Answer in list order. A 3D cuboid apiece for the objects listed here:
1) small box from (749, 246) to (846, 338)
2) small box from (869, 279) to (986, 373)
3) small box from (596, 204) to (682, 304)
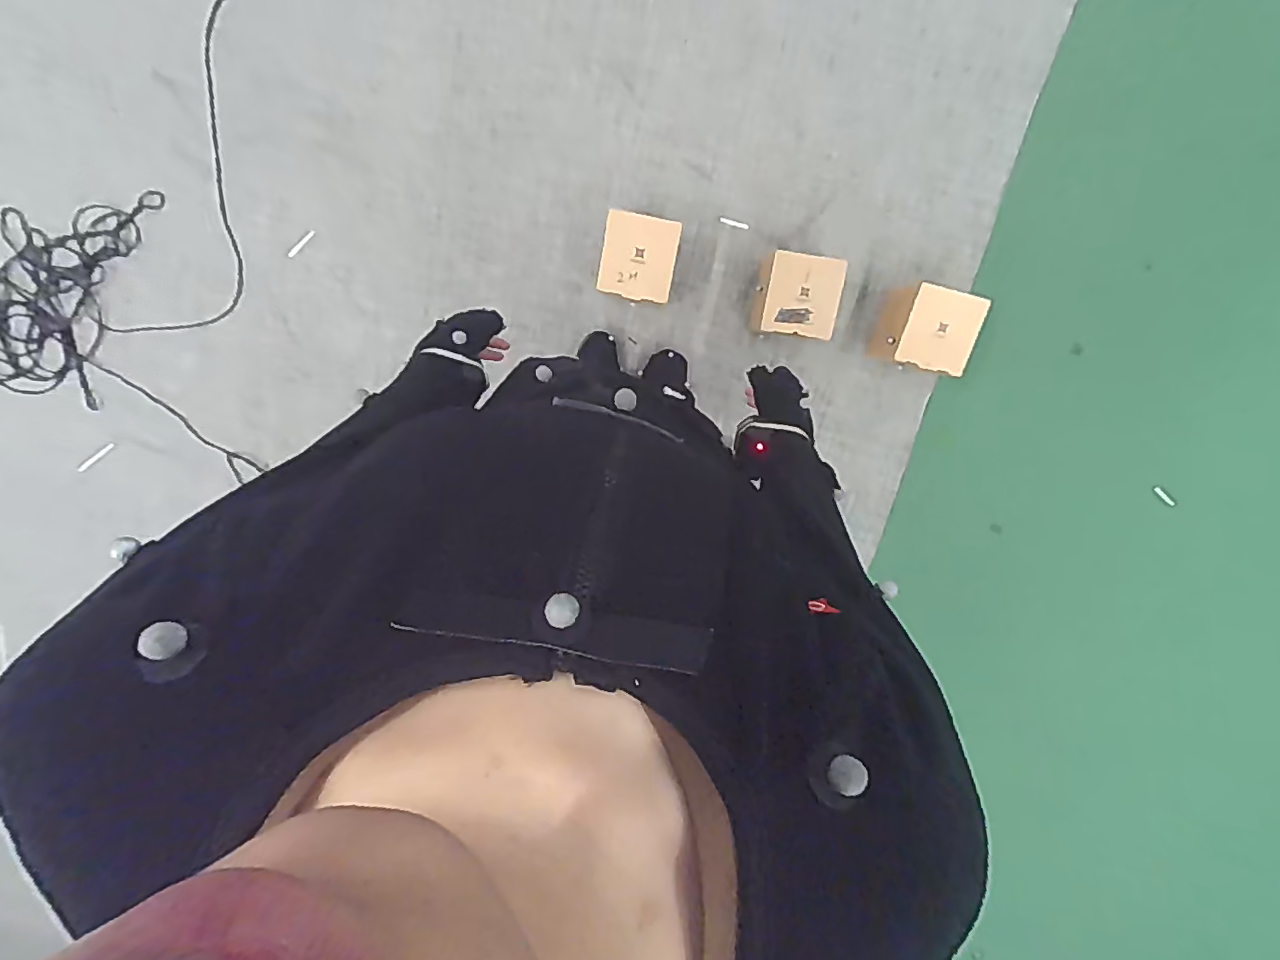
[{"bbox_3d":[0.364,-0.441,1.290,0.168,0.176,0.179,9,104,-1],"label":"small box"},{"bbox_3d":[0.679,-0.368,1.303,0.168,0.176,0.179,14,105,-2],"label":"small box"},{"bbox_3d":[-0.001,-0.523,1.275,0.168,0.176,0.179,12,106,0],"label":"small box"}]
